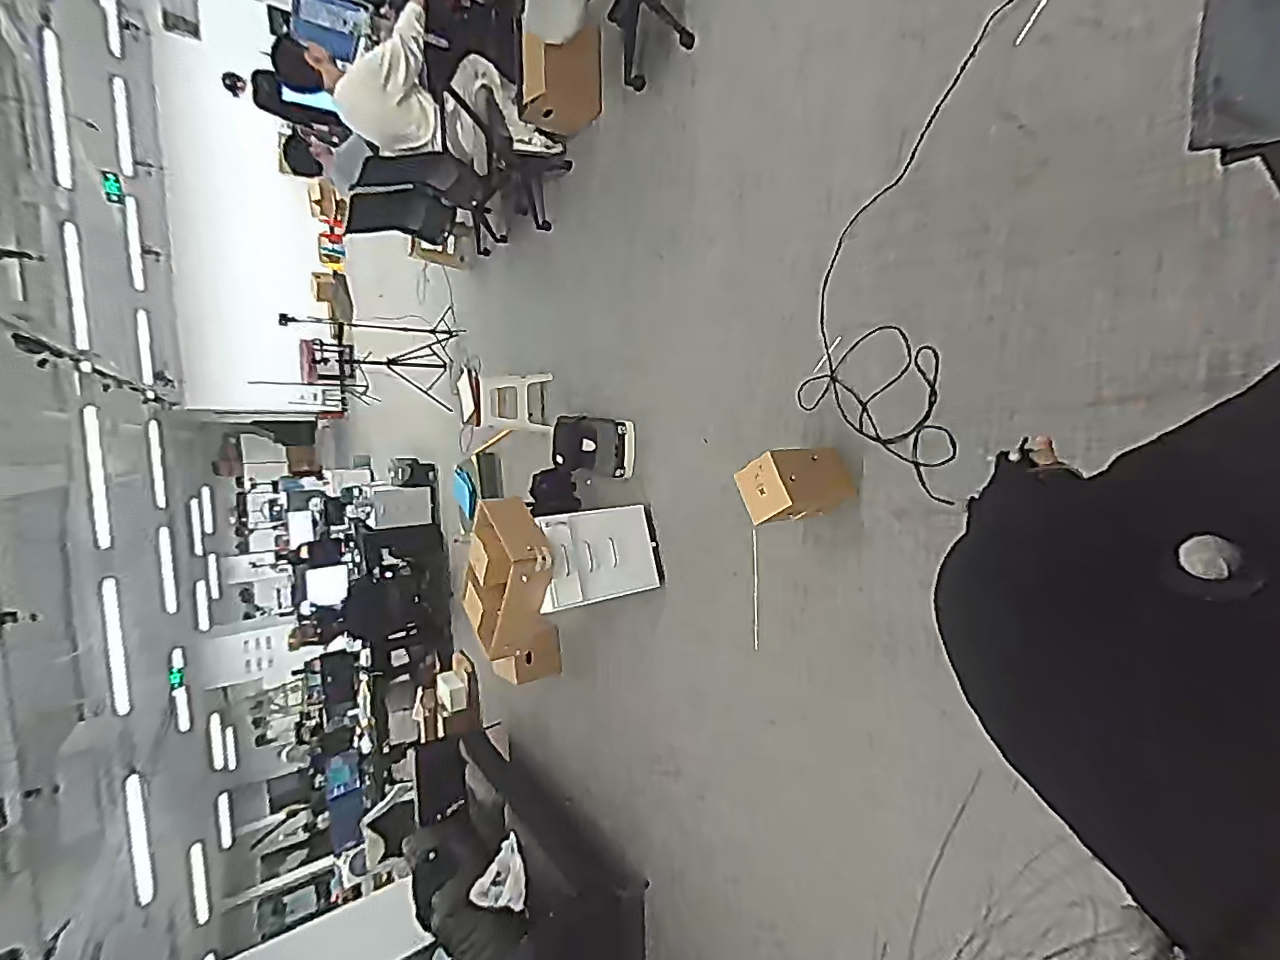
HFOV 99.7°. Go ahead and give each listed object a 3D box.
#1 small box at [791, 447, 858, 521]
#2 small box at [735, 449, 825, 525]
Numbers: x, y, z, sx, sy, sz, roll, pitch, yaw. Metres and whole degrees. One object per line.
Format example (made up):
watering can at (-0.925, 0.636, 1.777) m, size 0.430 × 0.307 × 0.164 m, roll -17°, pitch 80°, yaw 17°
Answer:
small box at (0.559, 0.008, 1.735) m, size 0.168 × 0.176 × 0.179 m, roll -49°, pitch 56°, yaw 46°
small box at (0.426, 0.018, 1.638) m, size 0.168 × 0.176 × 0.179 m, roll -42°, pitch 61°, yaw 48°
